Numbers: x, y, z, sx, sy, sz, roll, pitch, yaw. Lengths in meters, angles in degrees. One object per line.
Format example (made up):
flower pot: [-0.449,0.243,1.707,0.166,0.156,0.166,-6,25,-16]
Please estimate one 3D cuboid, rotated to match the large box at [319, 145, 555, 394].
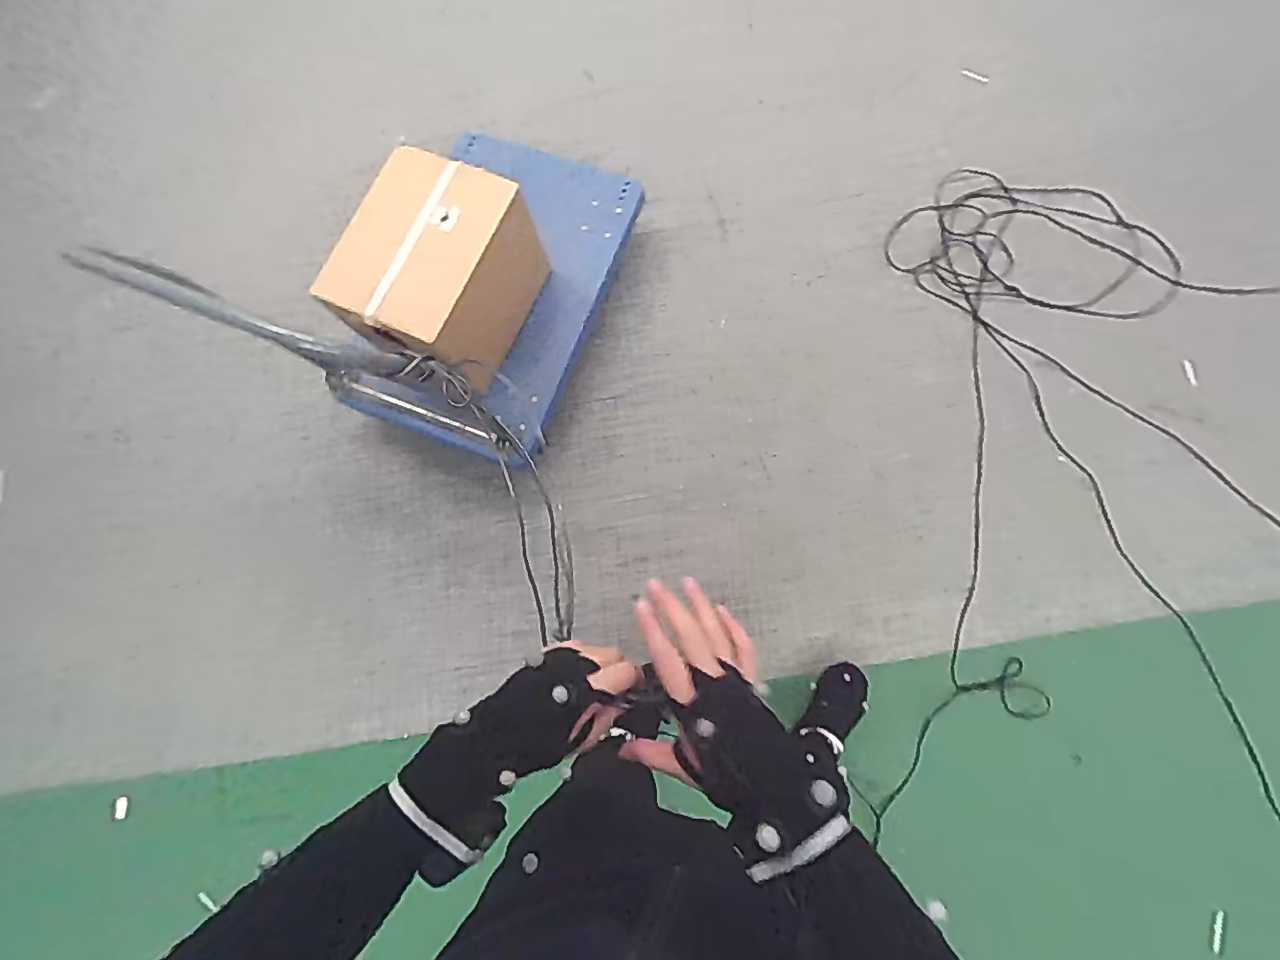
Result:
large box: [-0.452,-0.479,1.290,0.320,0.320,0.408,24,80,8]
